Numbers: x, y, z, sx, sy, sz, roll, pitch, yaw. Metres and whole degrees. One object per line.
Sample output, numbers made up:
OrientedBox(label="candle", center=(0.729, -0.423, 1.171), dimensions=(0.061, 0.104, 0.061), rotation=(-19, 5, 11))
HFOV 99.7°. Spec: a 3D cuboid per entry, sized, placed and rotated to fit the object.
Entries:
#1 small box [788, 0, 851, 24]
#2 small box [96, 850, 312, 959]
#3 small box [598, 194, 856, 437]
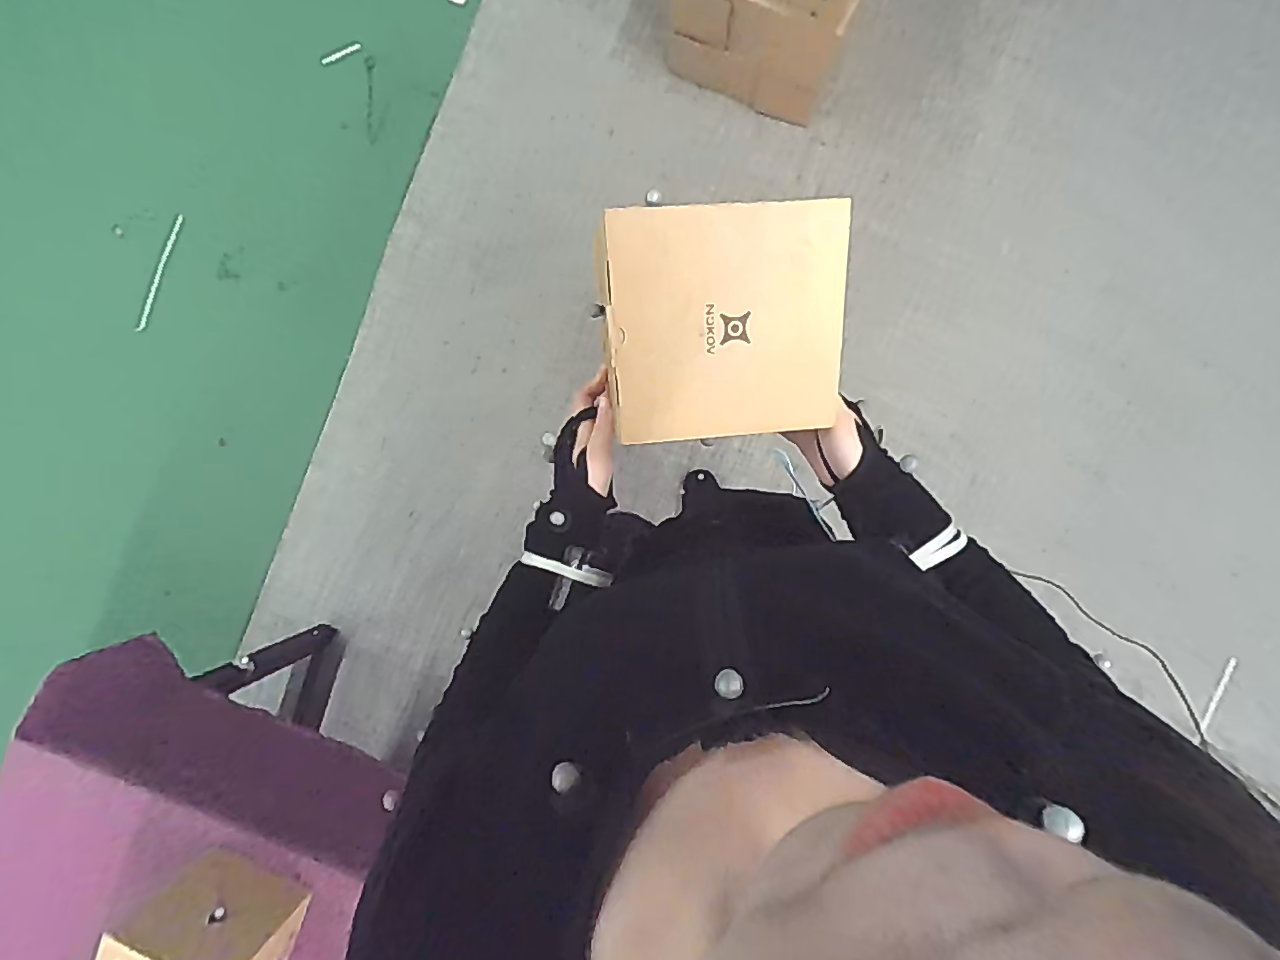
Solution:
OrientedBox(label="small box", center=(0.377, -1.064, 1.060), dimensions=(0.168, 0.176, 0.179), rotation=(29, 91, 2))
OrientedBox(label="small box", center=(-0.615, 0.671, 0.759), dimensions=(0.179, 0.176, 0.168), rotation=(22, 93, 3))
OrientedBox(label="small box", center=(0.058, -0.144, 0.466), dimensions=(0.179, 0.176, 0.168), rotation=(-5, 111, -4))
